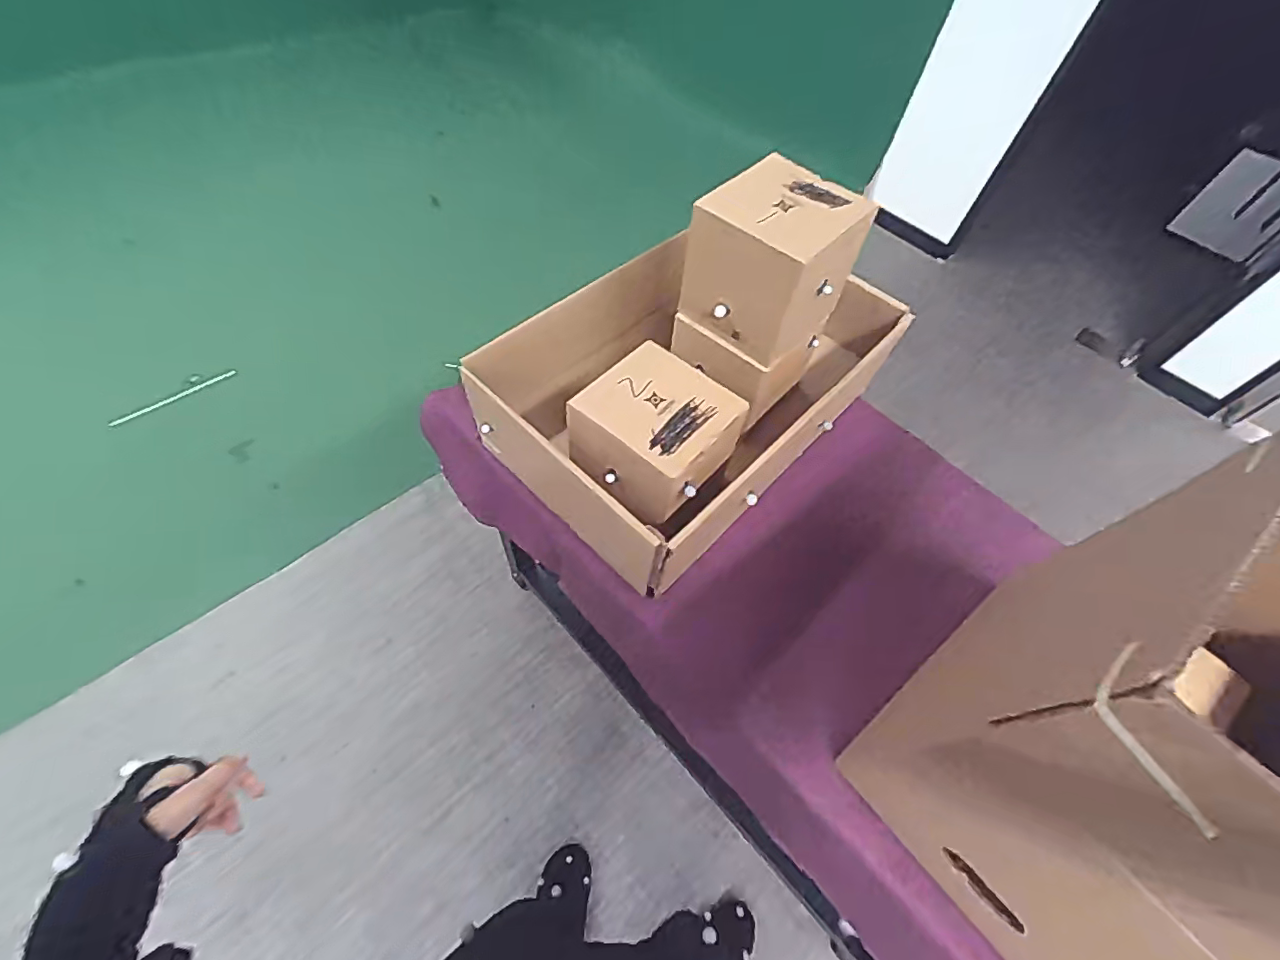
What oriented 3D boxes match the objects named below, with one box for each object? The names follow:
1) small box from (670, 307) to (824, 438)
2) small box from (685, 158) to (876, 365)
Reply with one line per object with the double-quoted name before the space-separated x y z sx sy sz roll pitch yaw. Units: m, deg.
"small box" 0.162 -0.201 0.872 0.168 0.176 0.179 38 62 19
"small box" 0.178 -0.293 0.737 0.168 0.176 0.179 39 64 19
